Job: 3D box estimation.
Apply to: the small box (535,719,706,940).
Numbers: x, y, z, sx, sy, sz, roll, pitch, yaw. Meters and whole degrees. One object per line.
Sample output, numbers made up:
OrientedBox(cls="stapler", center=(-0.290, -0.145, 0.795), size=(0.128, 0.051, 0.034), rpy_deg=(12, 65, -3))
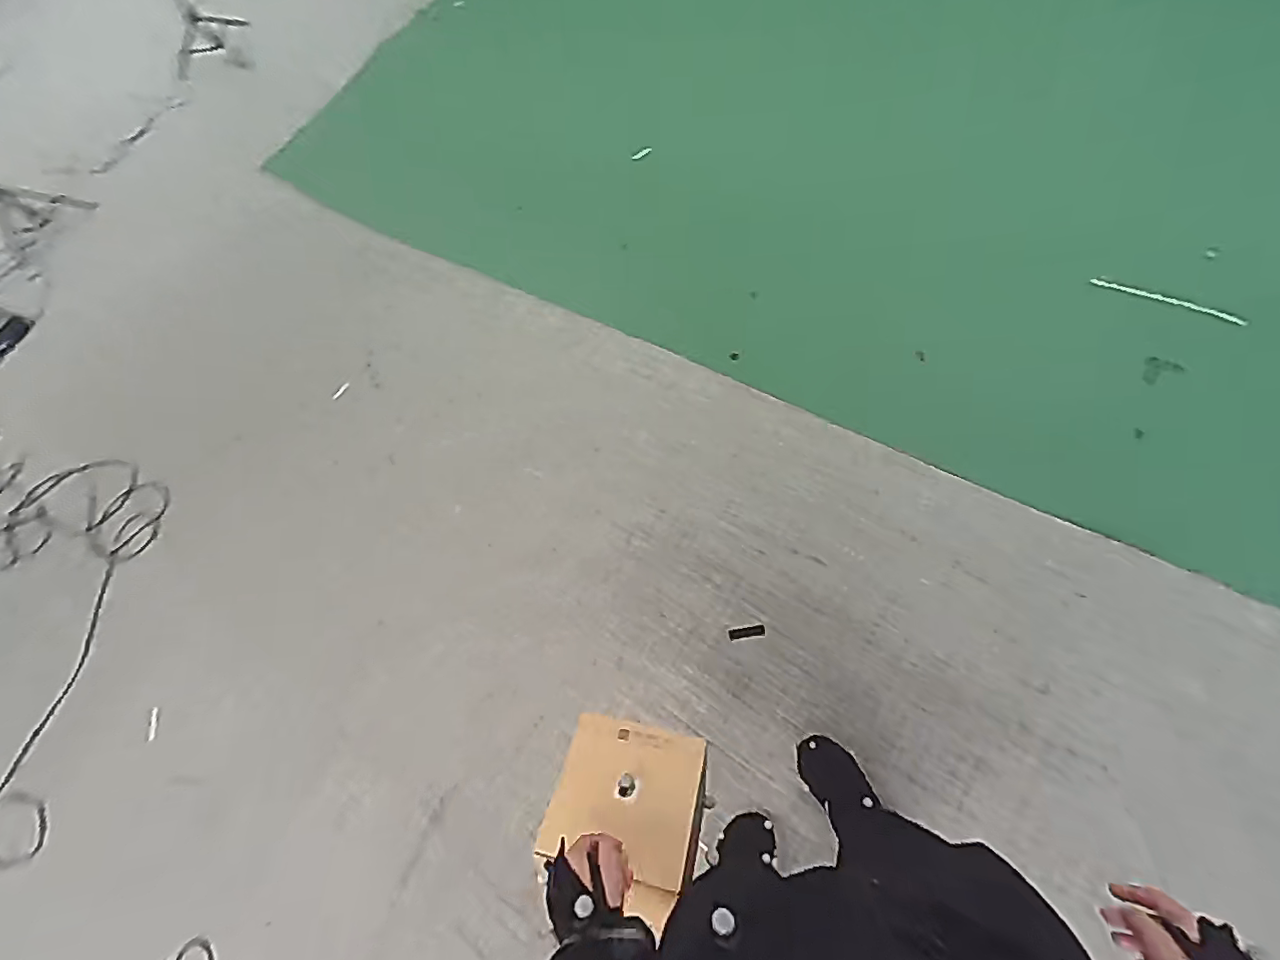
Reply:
OrientedBox(cls="small box", center=(-0.012, 0.430, 0.680), size=(0.168, 0.179, 0.176), rpy_deg=(6, 40, 14))
